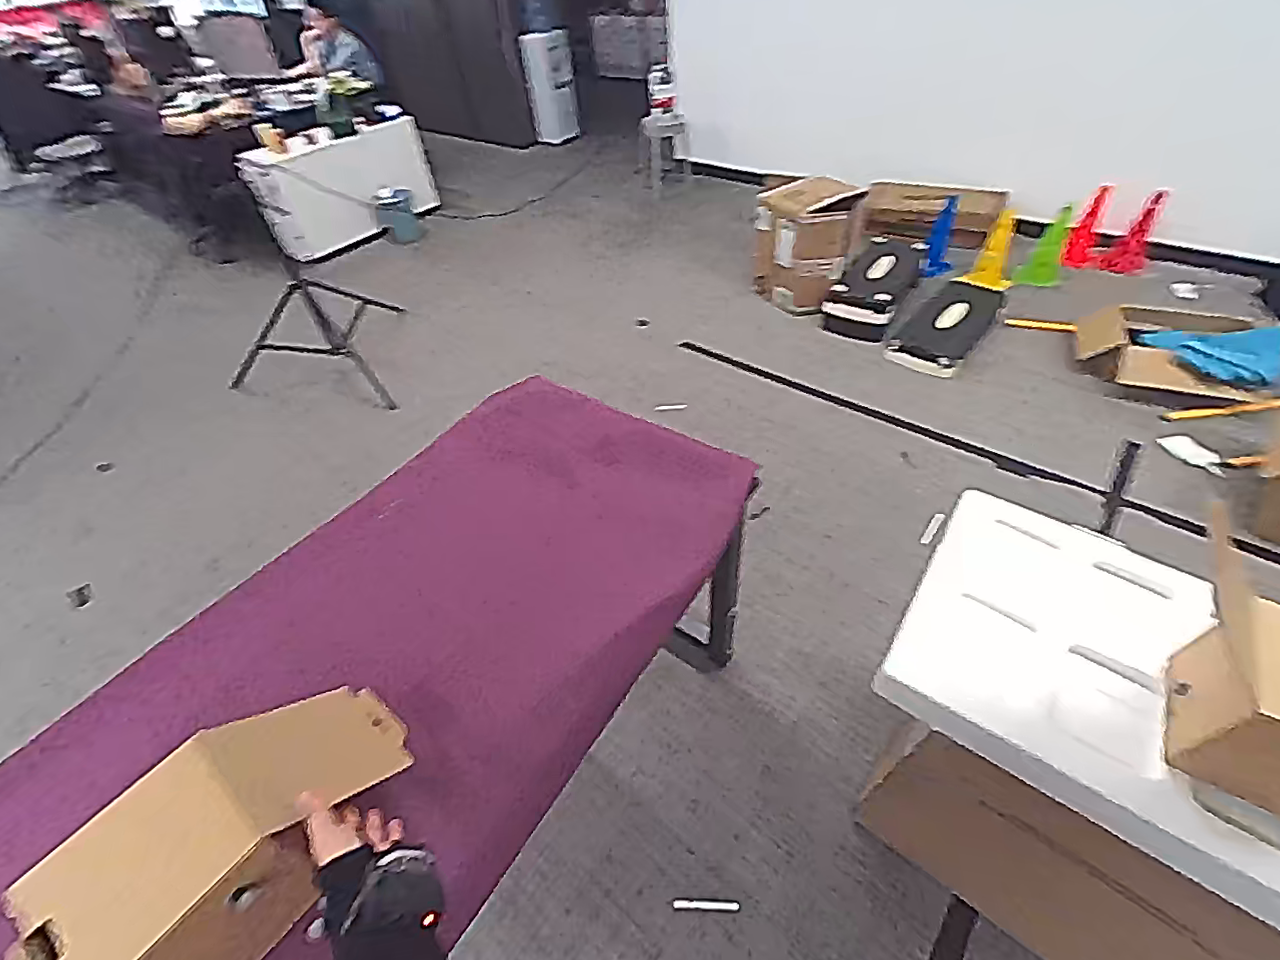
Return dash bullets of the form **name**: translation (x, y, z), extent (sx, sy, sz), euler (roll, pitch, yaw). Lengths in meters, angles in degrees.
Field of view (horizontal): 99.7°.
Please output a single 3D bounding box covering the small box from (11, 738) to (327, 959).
- **small box**: translation (-0.471, 0.422, 0.573), extent (0.168, 0.176, 0.179), euler (26, 55, 29)
